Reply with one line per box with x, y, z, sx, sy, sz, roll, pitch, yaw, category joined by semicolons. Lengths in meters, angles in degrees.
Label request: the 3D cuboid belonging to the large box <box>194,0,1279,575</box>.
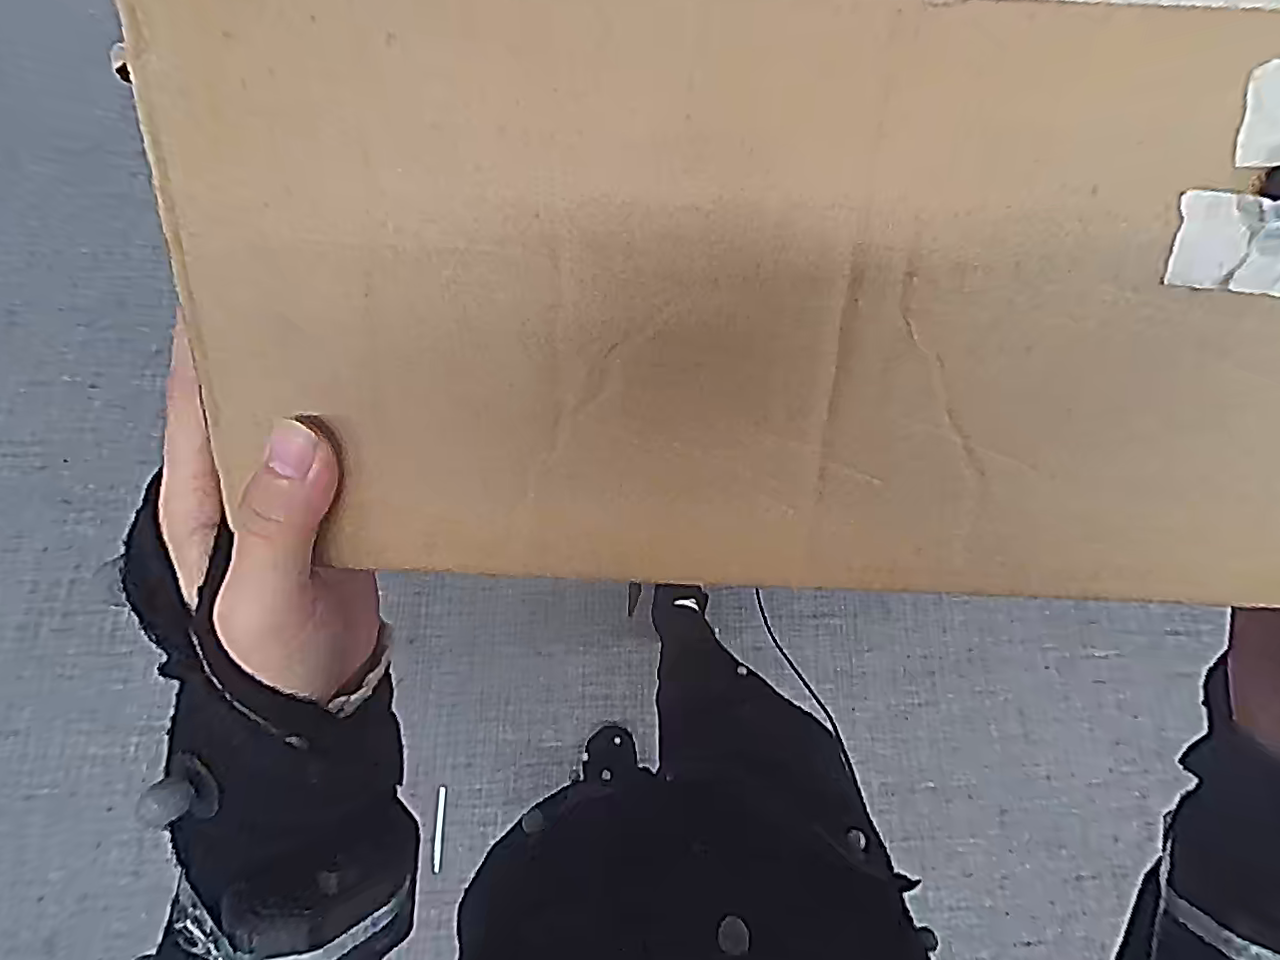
0.088;-0.159;0.275;0.408;0.320;0.320;2;107;-2;large box
